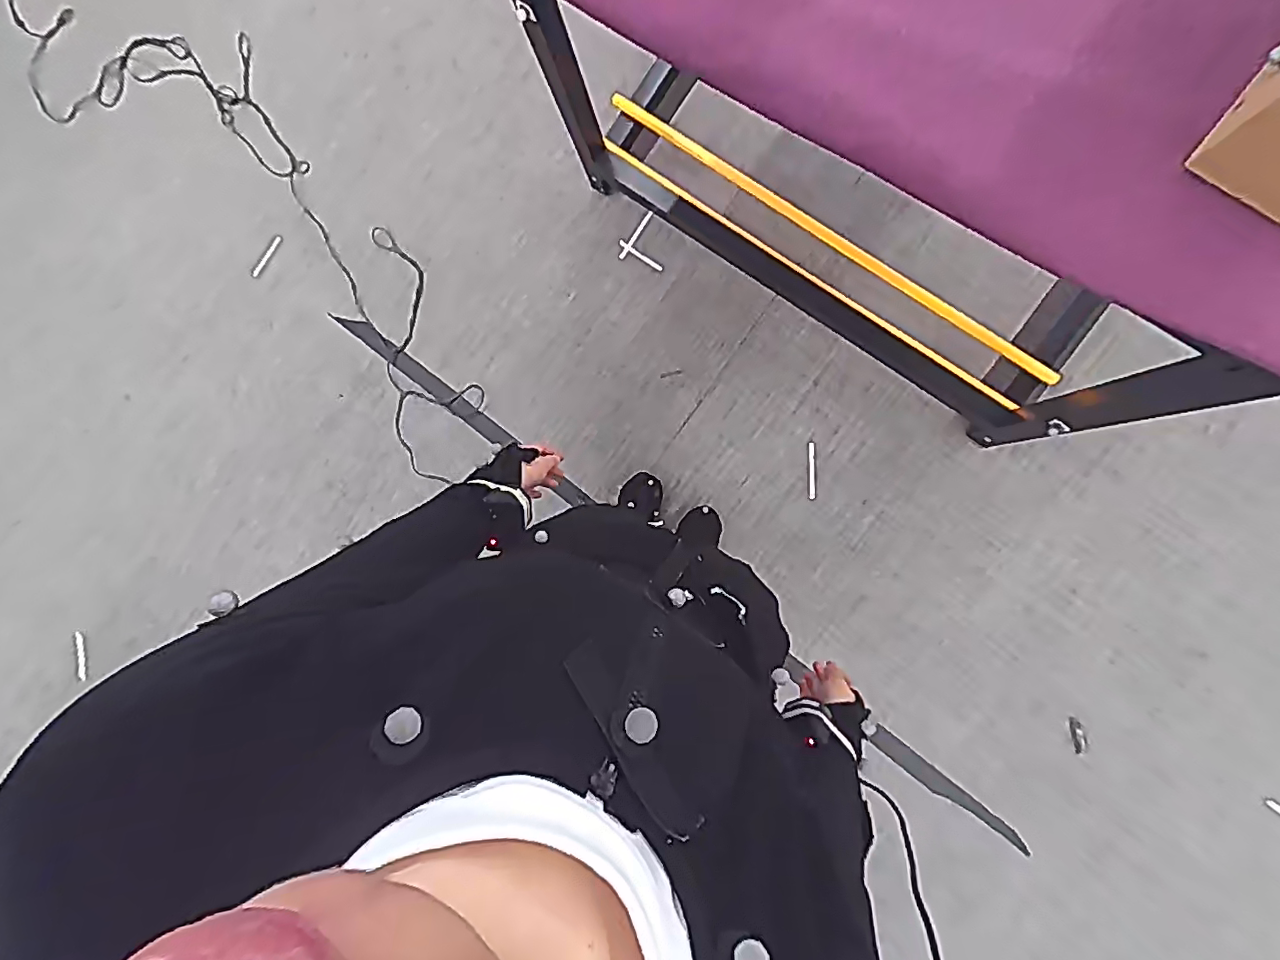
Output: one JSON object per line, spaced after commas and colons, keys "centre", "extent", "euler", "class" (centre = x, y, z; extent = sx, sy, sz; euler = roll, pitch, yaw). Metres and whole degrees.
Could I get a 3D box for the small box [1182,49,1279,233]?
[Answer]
{"centre": [0.674, -0.342, 0.480], "extent": [0.179, 0.176, 0.168], "euler": [38, 92, 8], "class": "small box"}
